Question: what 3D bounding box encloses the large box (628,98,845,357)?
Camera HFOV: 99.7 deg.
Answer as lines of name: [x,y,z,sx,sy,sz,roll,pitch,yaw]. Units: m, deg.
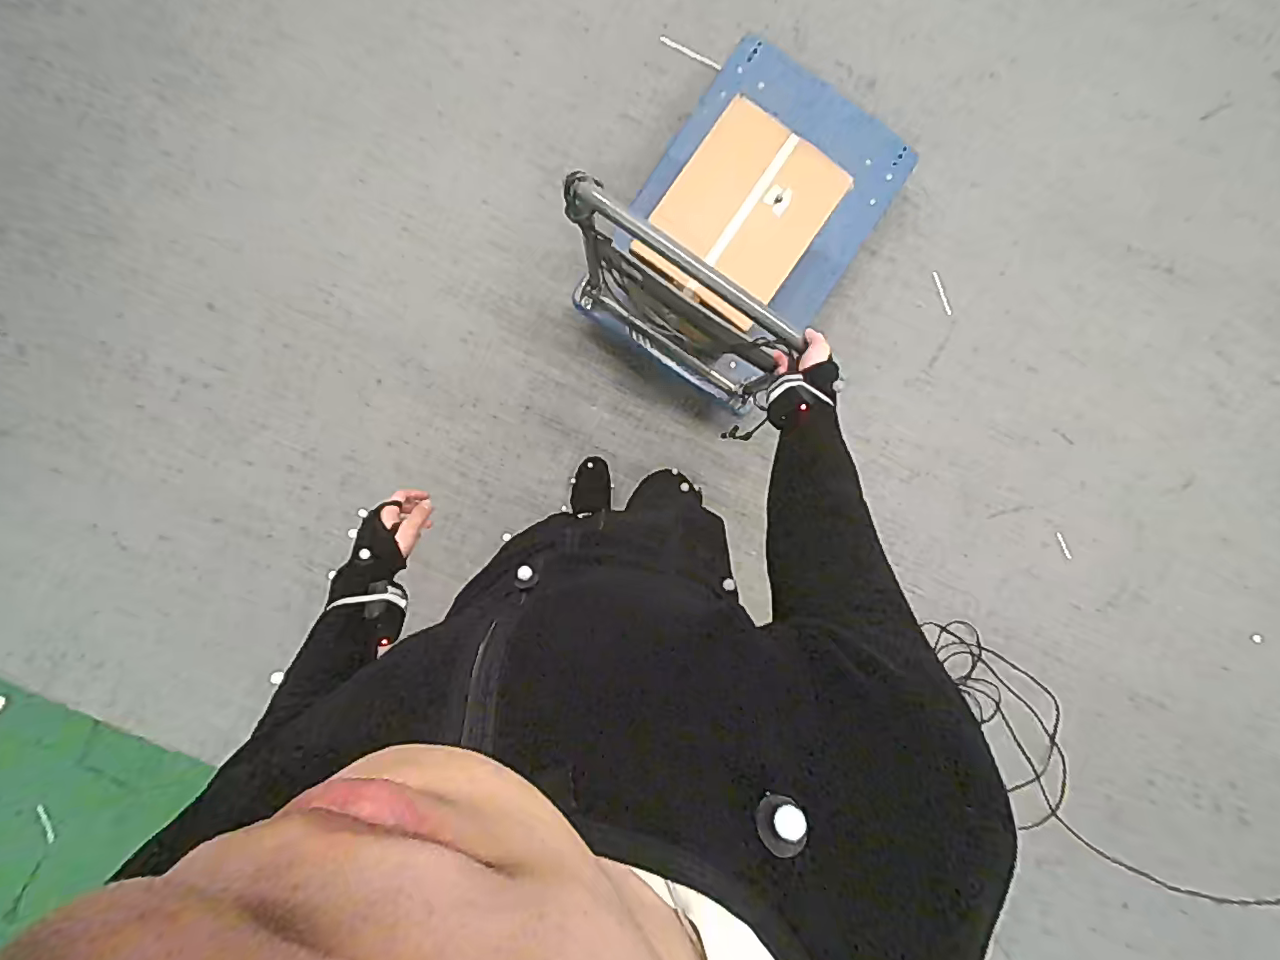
large box: [0.205,-0.574,1.311,0.320,0.320,0.408,36,89,-4]
